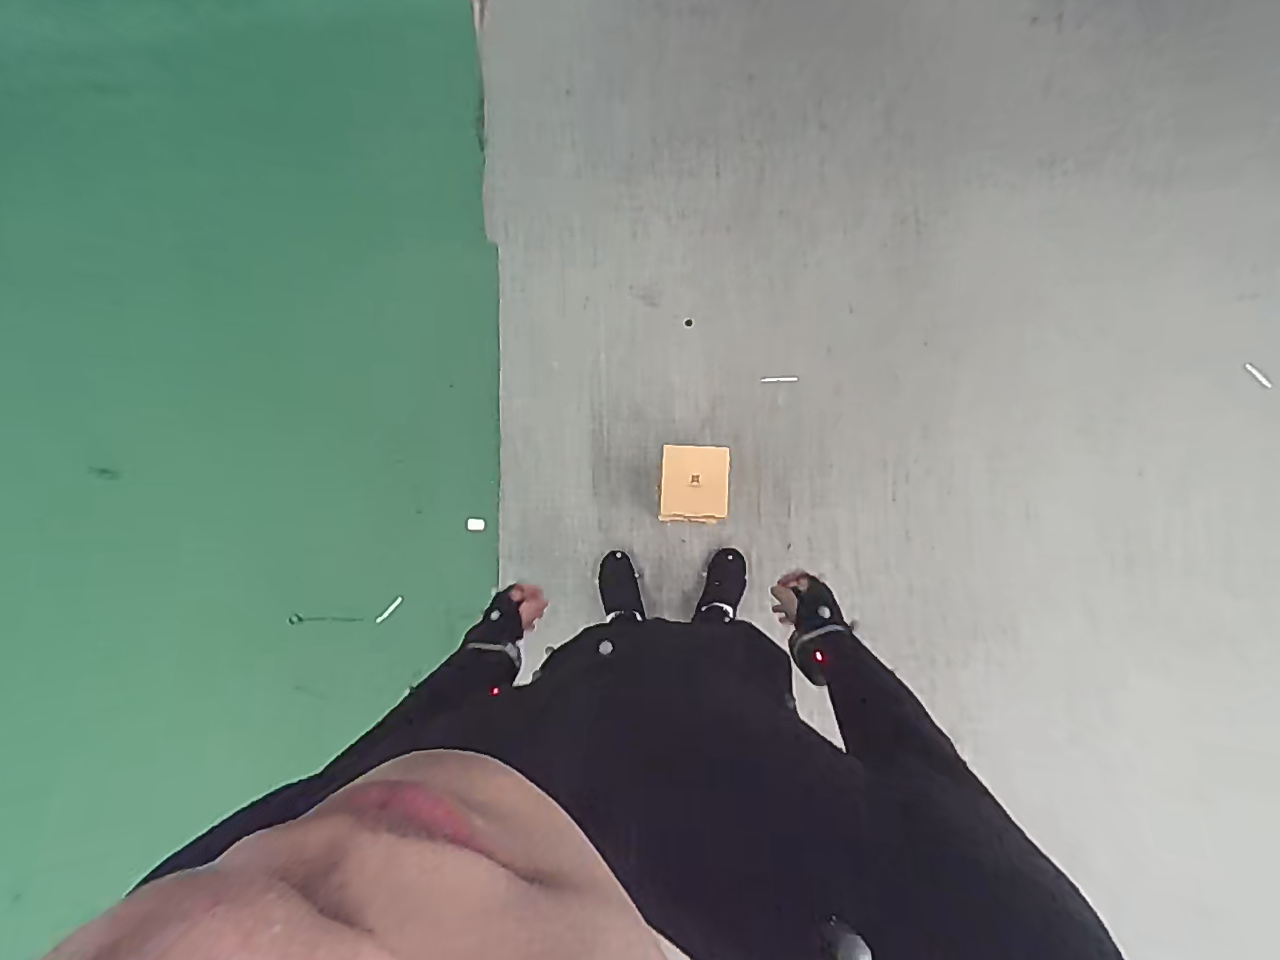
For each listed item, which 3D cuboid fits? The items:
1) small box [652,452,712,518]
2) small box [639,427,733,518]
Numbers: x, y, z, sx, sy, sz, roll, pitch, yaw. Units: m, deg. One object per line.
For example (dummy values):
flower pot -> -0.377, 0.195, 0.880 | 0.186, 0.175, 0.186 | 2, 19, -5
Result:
small box -> 0.122, 0.018, 1.562 | 0.168, 0.176, 0.179 | 3, 85, 1
small box -> 0.117, -0.012, 1.410 | 0.179, 0.176, 0.168 | 34, 89, 4
